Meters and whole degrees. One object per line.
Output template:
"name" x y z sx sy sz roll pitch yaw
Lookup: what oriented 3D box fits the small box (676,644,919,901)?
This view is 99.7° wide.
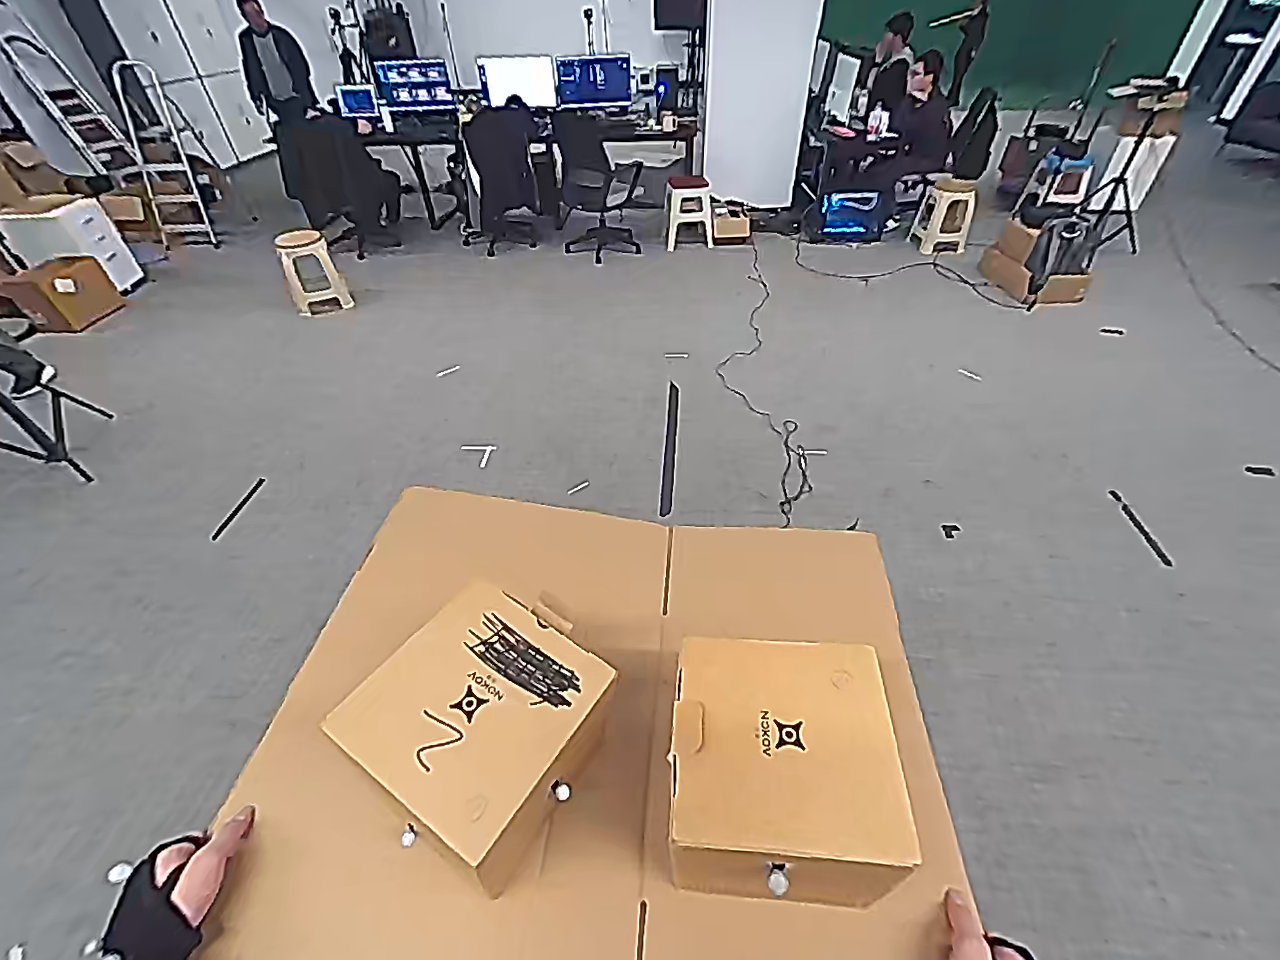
"small box" 0.127 0.272 0.504 0.179 0.176 0.168 0 44 7
